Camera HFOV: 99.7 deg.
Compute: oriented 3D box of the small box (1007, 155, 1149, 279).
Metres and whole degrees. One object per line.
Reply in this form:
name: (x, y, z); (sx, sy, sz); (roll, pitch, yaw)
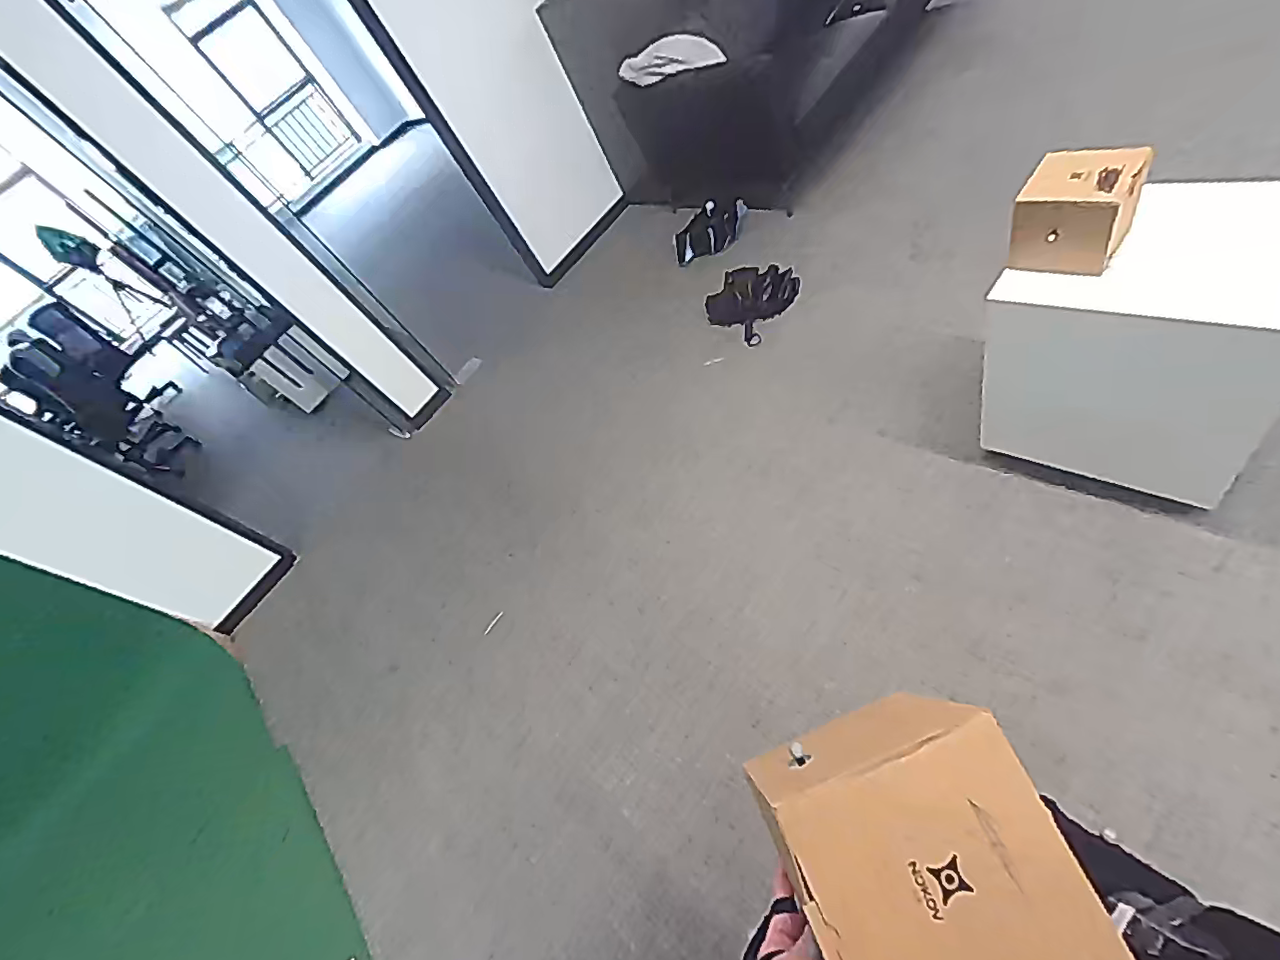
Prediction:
small box: (0.898, -0.542, 1.125); (0.179, 0.176, 0.168); (26, 71, 41)
